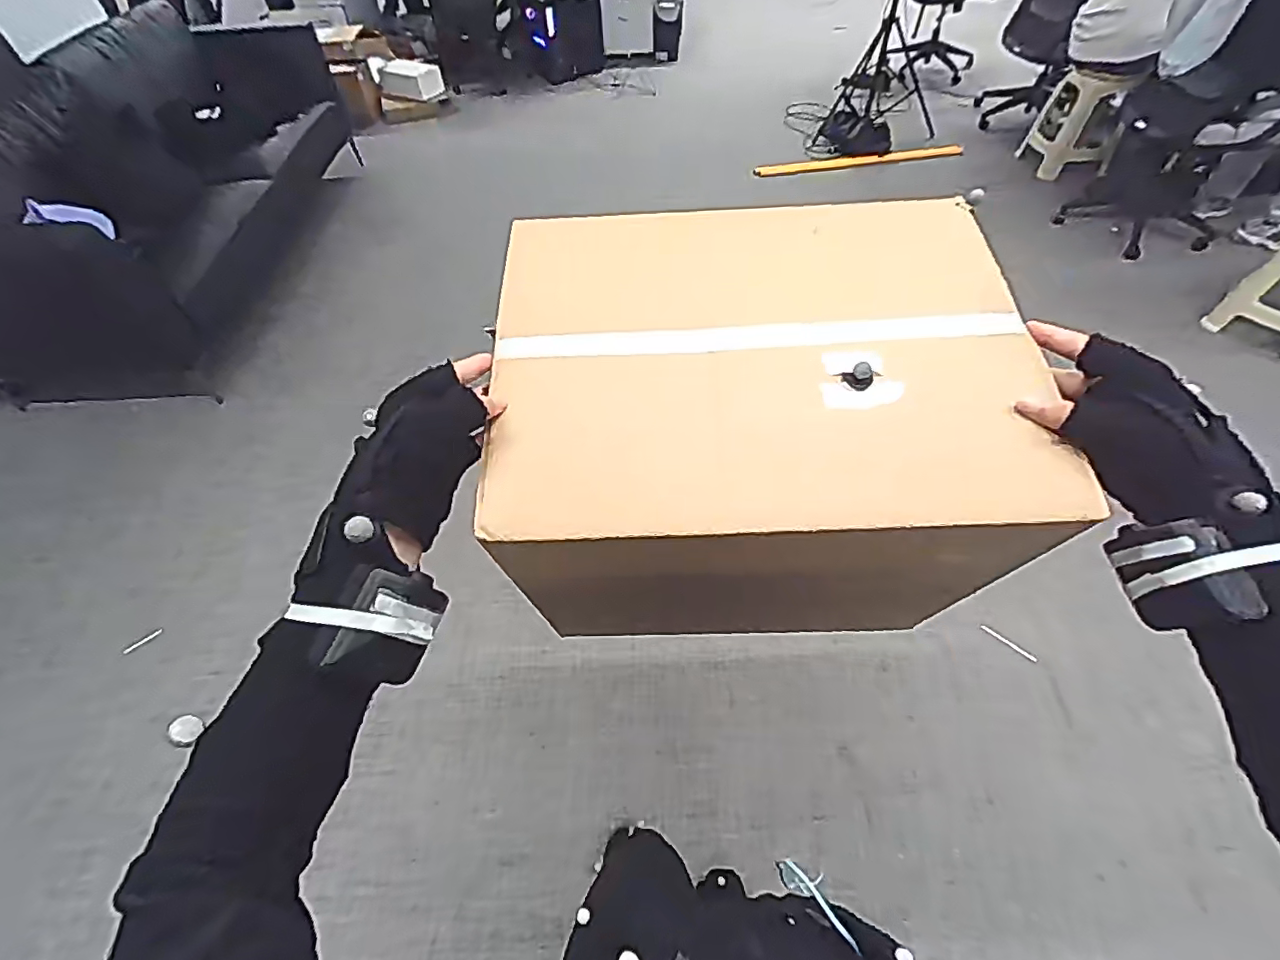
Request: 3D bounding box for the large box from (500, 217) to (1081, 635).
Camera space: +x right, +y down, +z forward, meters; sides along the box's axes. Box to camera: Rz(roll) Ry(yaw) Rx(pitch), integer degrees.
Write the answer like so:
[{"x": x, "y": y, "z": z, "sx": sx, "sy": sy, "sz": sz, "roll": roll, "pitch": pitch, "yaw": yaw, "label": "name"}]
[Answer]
[{"x": 0.098, "y": -0.033, "z": 0.565, "sx": 0.408, "sy": 0.320, "sz": 0.320, "roll": -2, "pitch": 63, "yaw": 1, "label": "large box"}]
